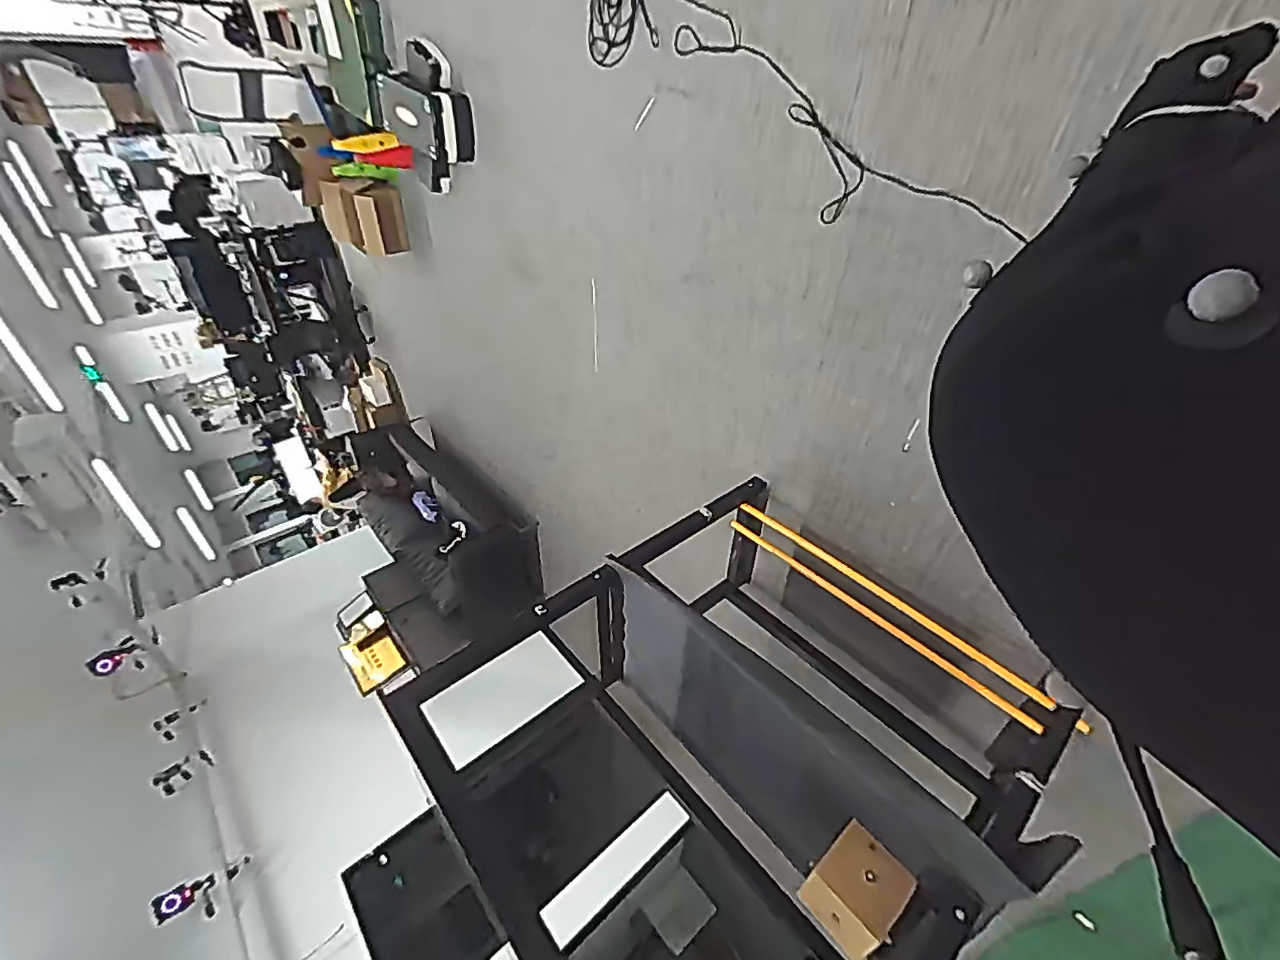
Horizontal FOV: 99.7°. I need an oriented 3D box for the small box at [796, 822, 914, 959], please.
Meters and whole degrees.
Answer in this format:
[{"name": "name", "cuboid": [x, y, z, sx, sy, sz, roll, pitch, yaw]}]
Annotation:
[{"name": "small box", "cuboid": [0.489, 0.927, 1.229, 0.168, 0.176, 0.179, 38, 140, 35]}]
